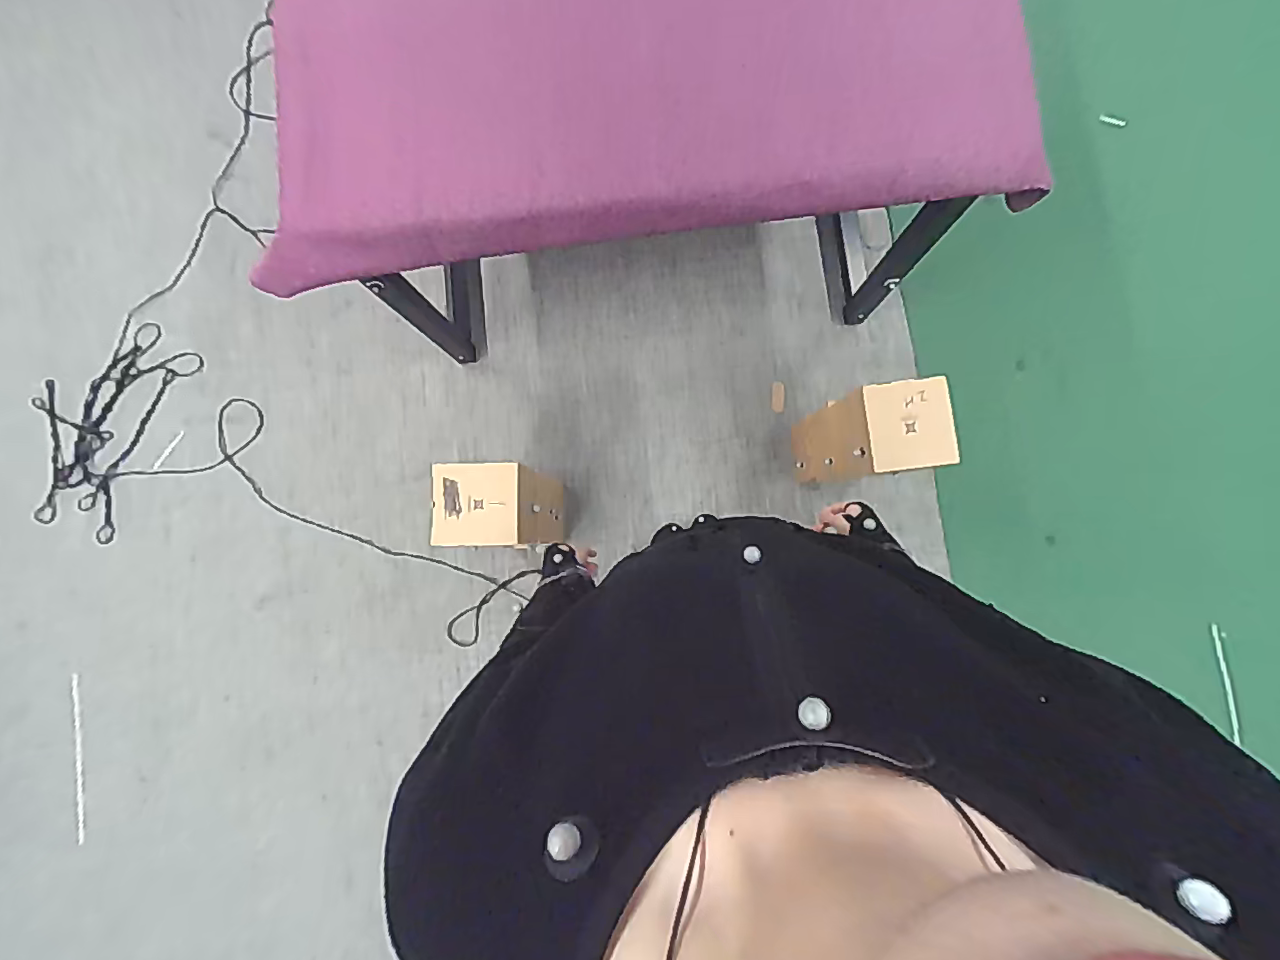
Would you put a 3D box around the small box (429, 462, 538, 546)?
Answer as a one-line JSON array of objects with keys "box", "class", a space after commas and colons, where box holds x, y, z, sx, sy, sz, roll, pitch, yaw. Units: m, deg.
[{"box": [-0.322, 0.055, 1.137, 0.179, 0.176, 0.168, -1, 84, 2], "class": "small box"}]

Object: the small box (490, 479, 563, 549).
[{"box": [-0.304, 0.093, 1.464, 0.168, 0.176, 0.179, -3, 85, 2], "class": "small box"}]

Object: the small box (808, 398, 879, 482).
[{"box": [0.512, -0.097, 1.285, 0.168, 0.176, 0.179, -8, 86, 1], "class": "small box"}]

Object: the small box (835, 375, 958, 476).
[{"box": [0.521, -0.104, 1.120, 0.168, 0.176, 0.179, -7, 85, 1], "class": "small box"}]

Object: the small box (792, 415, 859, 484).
[{"box": [0.513, -0.084, 1.447, 0.179, 0.176, 0.168, -5, 84, 2], "class": "small box"}]
